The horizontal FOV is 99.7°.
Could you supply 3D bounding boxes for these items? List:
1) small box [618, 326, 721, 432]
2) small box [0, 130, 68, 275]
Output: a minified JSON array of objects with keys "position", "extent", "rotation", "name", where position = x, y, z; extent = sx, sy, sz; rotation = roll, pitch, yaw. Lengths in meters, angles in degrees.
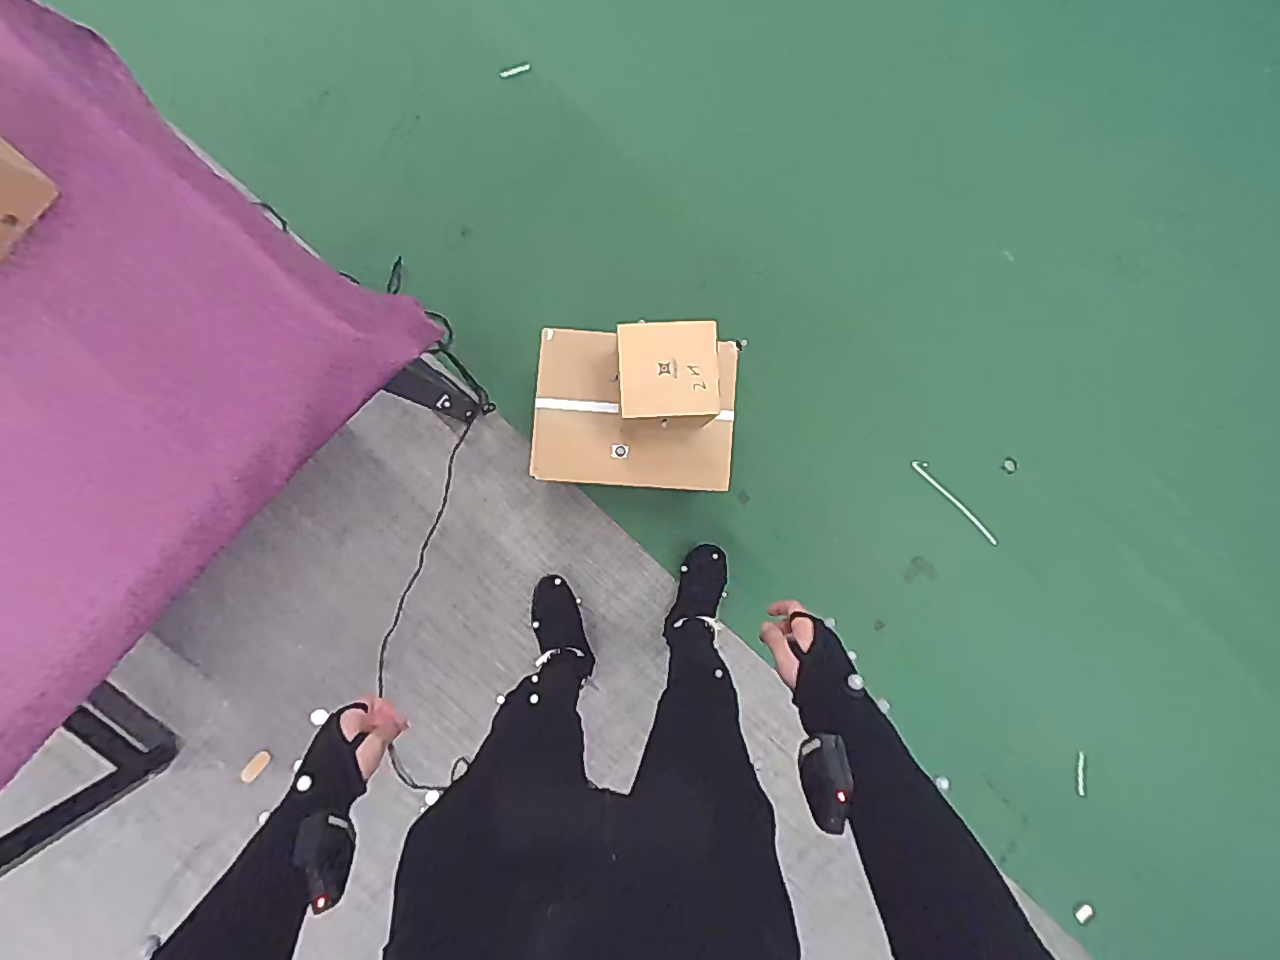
[{"position":[0.048,-0.182,1.015],"extent":[0.179,0.176,0.168],"rotation":[-3,88,-4],"name":"small box"},{"position":[-0.781,-0.331,0.553],"extent":[0.179,0.176,0.168],"rotation":[41,89,-2],"name":"small box"}]
